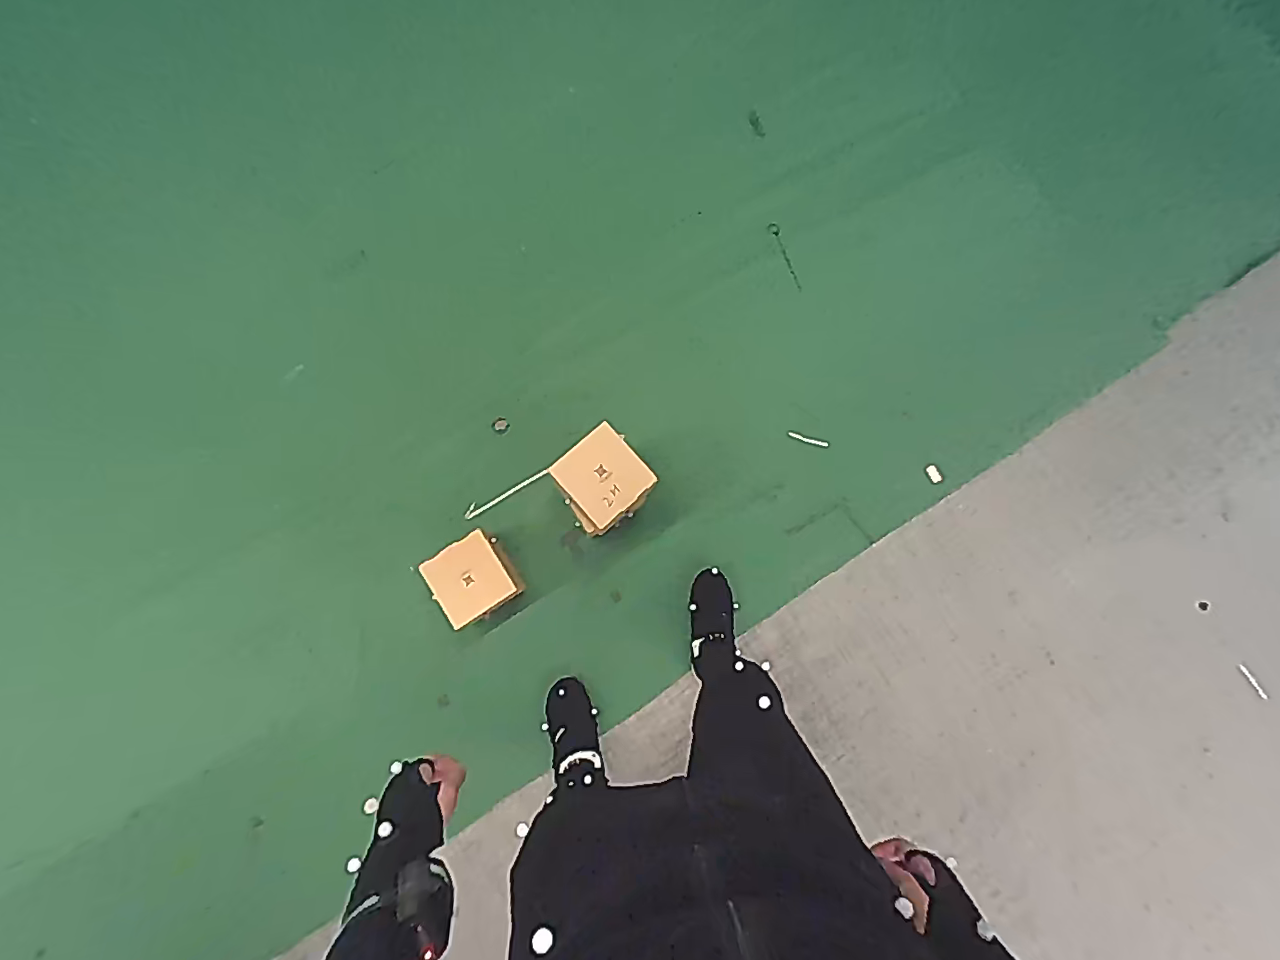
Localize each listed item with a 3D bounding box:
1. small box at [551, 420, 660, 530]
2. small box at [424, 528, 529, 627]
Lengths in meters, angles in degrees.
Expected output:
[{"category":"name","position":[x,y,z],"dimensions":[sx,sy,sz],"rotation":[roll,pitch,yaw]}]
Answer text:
[{"category":"small box","position":[-0.078,-0.002,1.226],"dimensions":[0.168,0.176,0.179],"rotation":[-41,85,-8]},{"category":"small box","position":[-0.394,0.238,1.336],"dimensions":[0.168,0.176,0.179],"rotation":[-33,83,-8]}]
